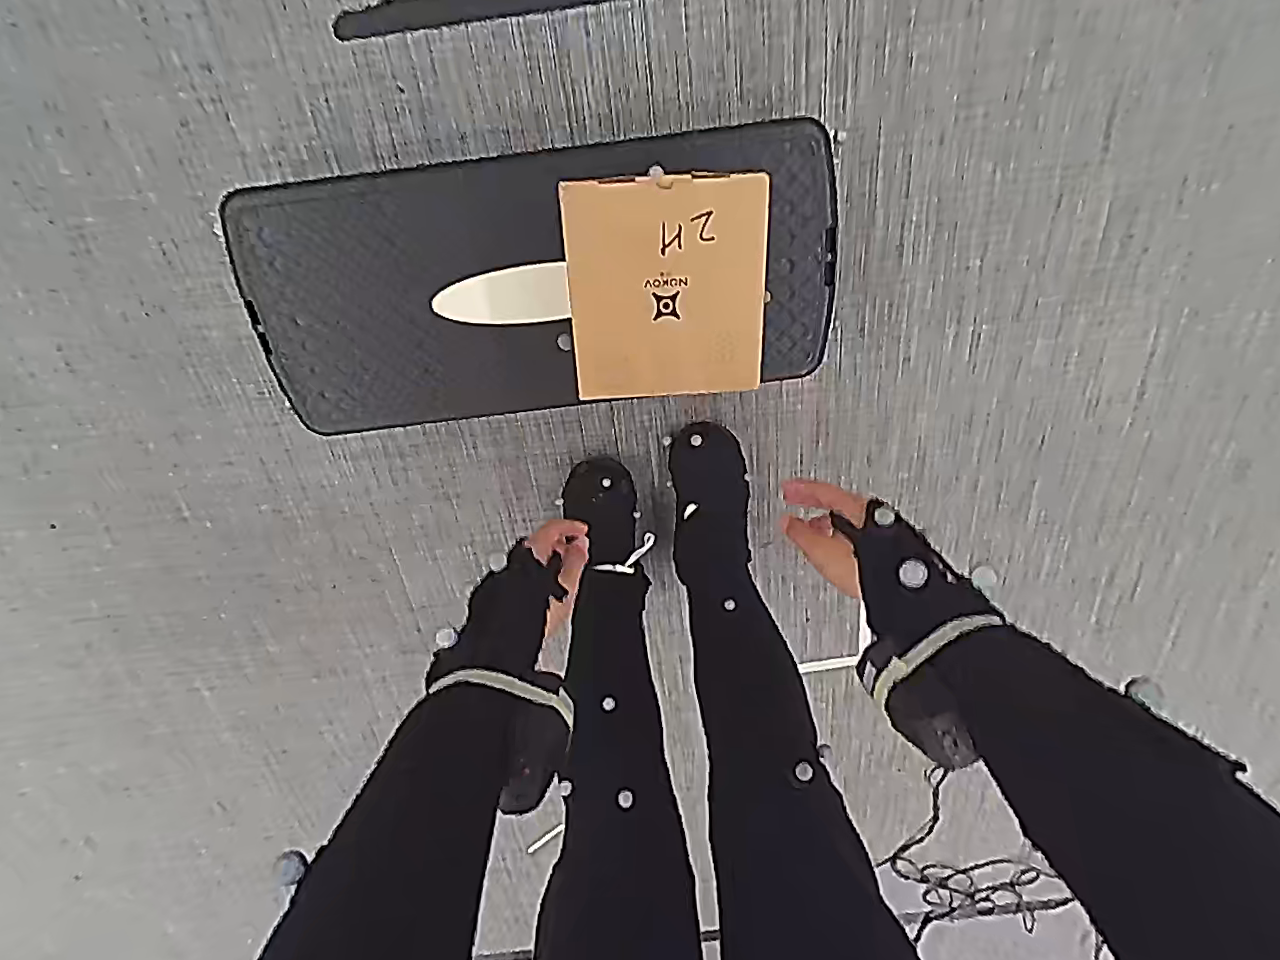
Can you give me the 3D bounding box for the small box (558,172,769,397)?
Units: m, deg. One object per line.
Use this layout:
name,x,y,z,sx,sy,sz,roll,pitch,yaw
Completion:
small box,0.018,-0.190,0.522,0.168,0.176,0.179,-3,115,-1
